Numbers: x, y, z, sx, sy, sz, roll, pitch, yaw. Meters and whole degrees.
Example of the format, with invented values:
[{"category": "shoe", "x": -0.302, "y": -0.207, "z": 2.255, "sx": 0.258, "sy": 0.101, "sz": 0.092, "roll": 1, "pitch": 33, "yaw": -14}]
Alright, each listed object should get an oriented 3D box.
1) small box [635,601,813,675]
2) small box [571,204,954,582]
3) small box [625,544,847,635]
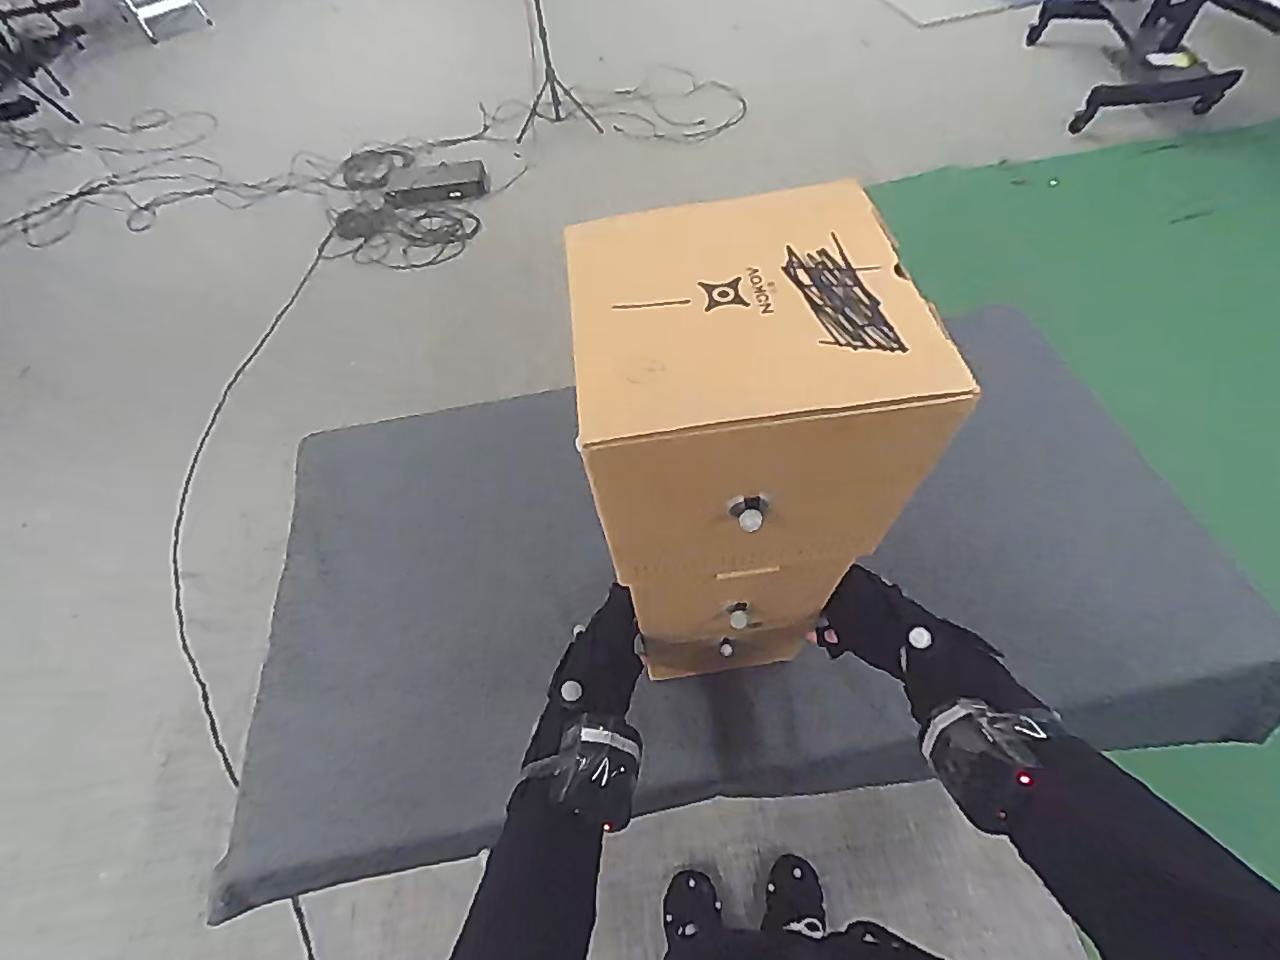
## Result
[{"category": "small box", "x": 0.081, "y": 0.120, "z": 0.638, "sx": 0.179, "sy": 0.176, "sz": 0.168, "roll": -8, "pitch": 57, "yaw": -2}, {"category": "small box", "x": 0.057, "y": -0.046, "z": 0.355, "sx": 0.179, "sy": 0.176, "sz": 0.168, "roll": -8, "pitch": 57, "yaw": 1}, {"category": "small box", "x": 0.066, "y": 0.034, "z": 0.499, "sx": 0.168, "sy": 0.176, "sz": 0.179, "roll": -8, "pitch": 58, "yaw": -1}]
